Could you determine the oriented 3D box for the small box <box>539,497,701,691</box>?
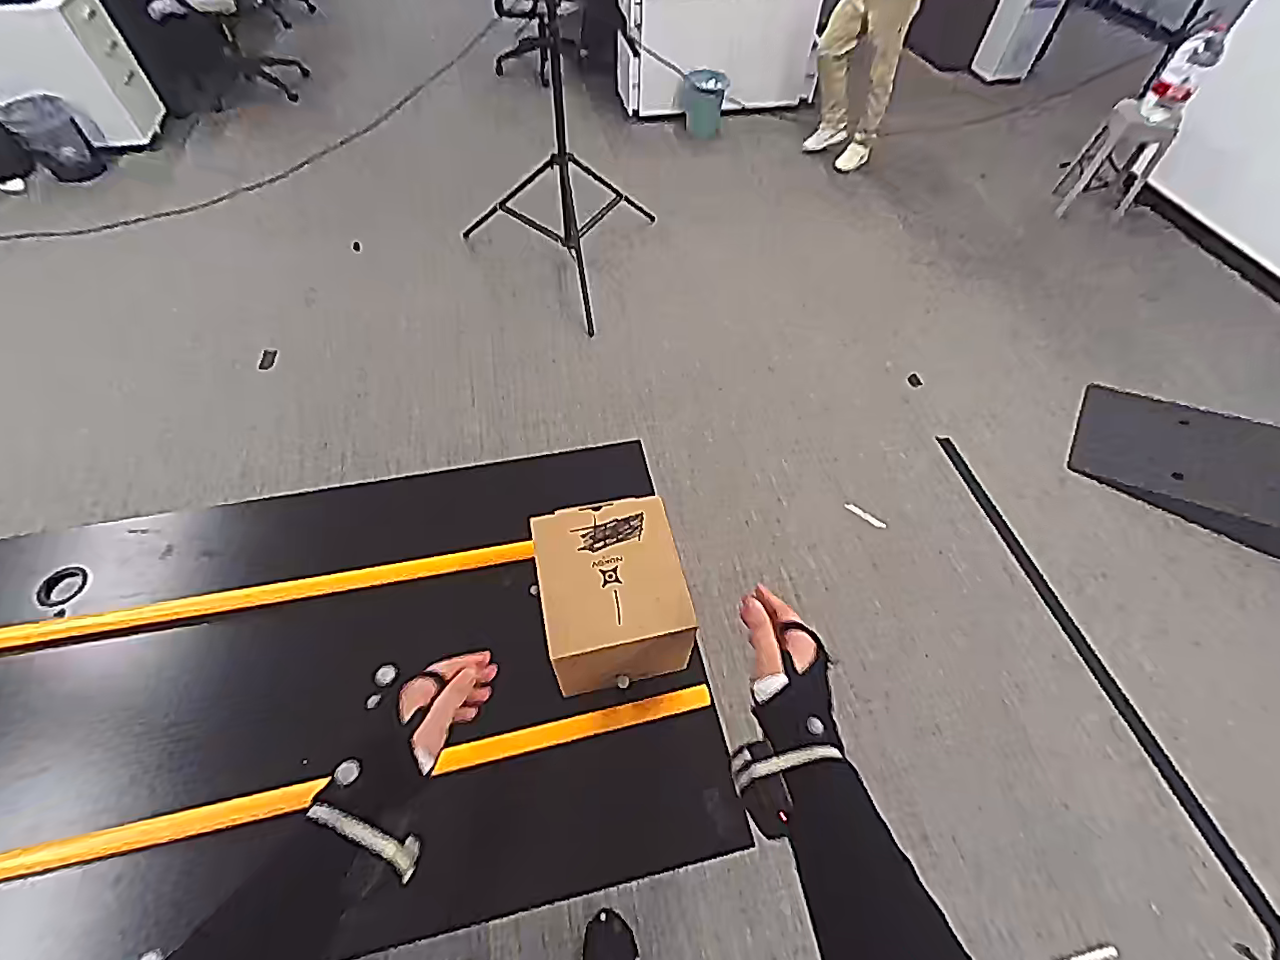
[{"bbox_3d":[-0.031,0.149,0.695,0.168,0.176,0.179,-10,57,-8],"label":"small box"}]
